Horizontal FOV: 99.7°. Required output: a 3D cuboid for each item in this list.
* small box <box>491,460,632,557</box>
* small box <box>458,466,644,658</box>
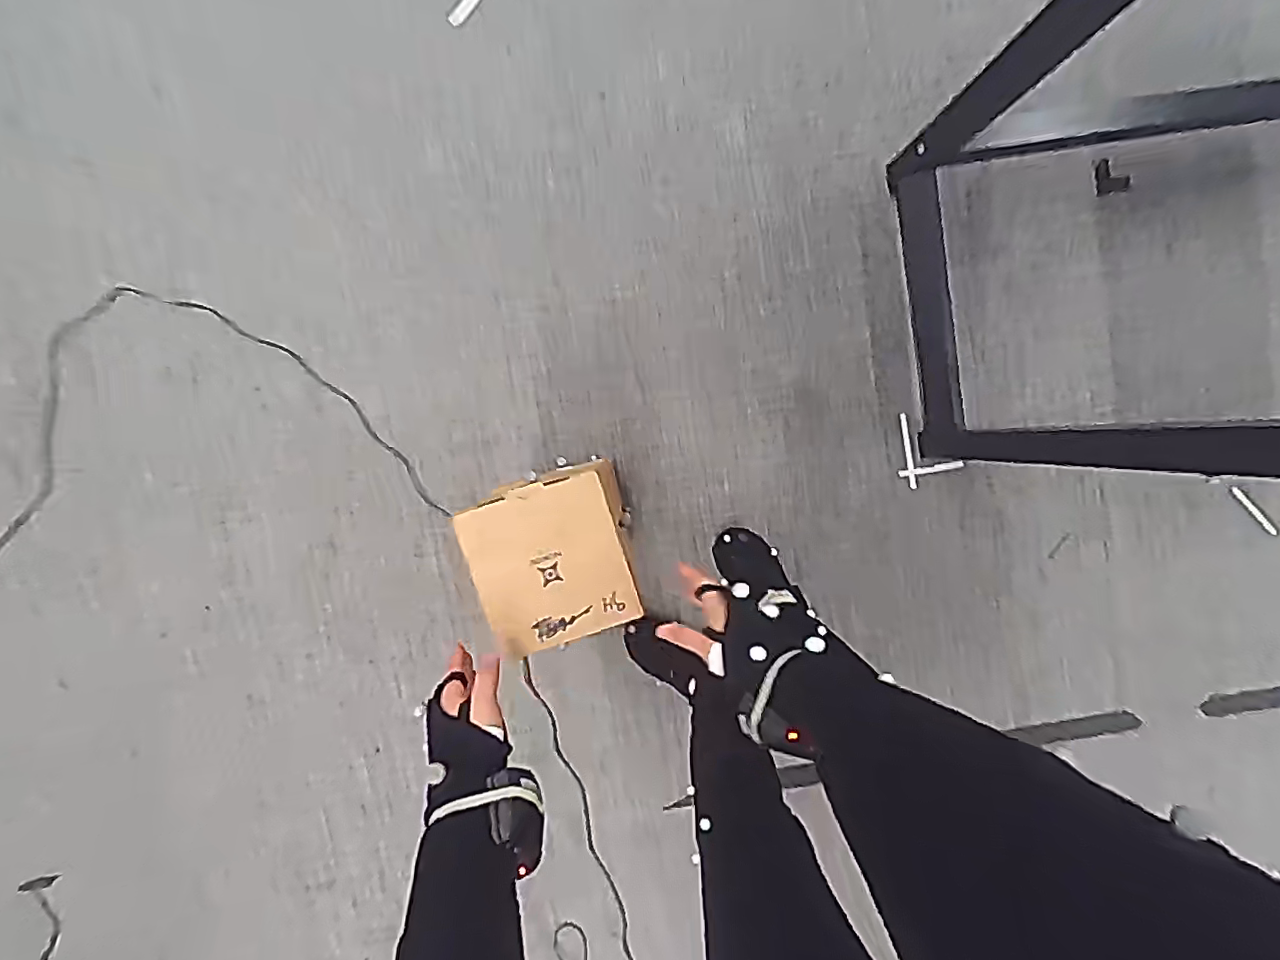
[{"bbox_3d":[-0.109,0.072,0.835,0.168,0.176,0.179,-16,93,-2],"label":"small box"},{"bbox_3d":[-0.101,0.088,0.671,0.168,0.176,0.179,-18,94,-1],"label":"small box"}]
